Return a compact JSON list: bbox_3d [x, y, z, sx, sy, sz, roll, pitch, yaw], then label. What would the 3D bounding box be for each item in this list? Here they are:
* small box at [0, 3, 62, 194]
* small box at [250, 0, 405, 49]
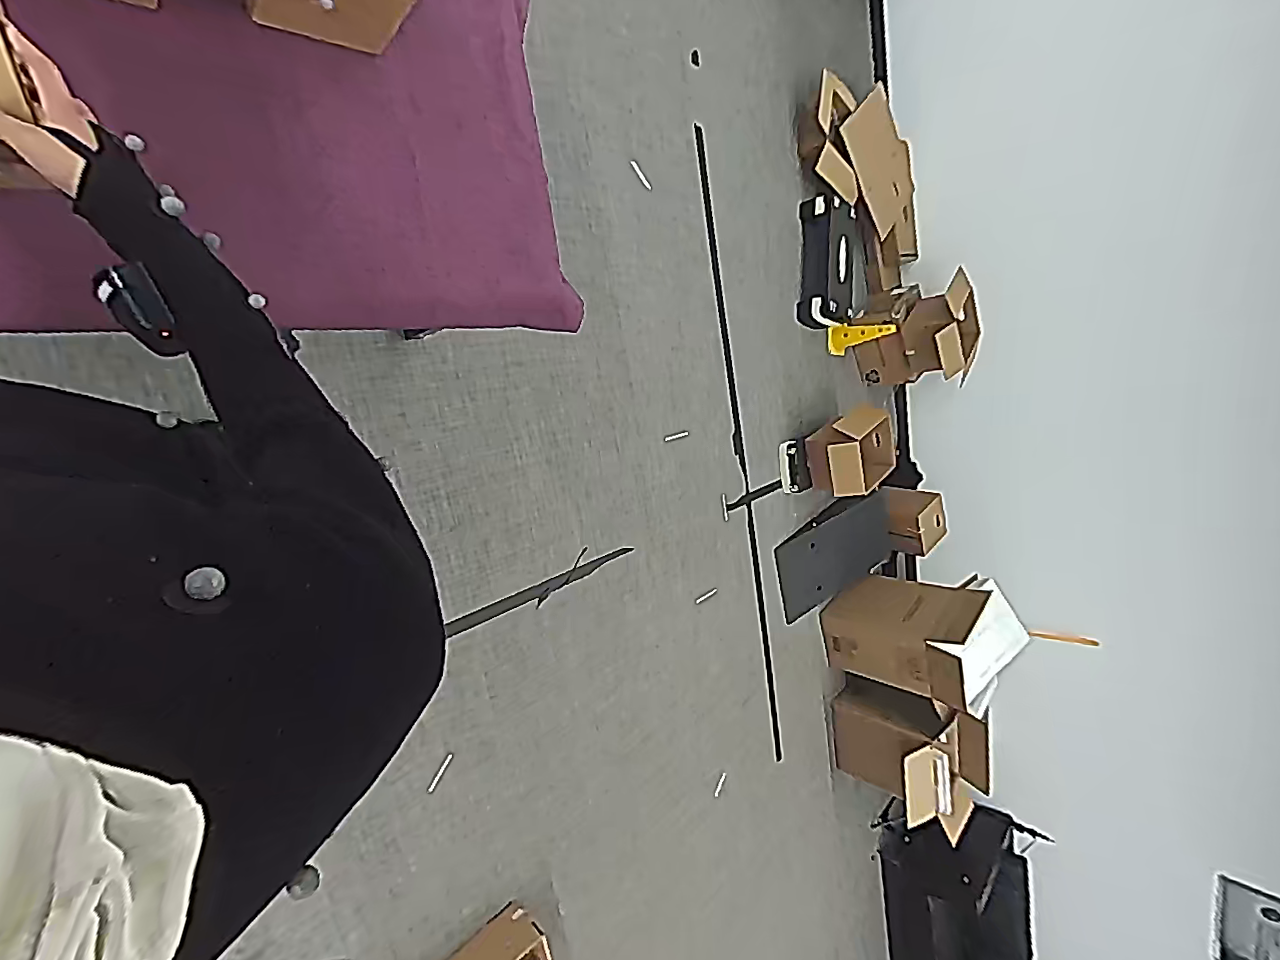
[{"bbox_3d":[-0.603,-0.332,0.422,0.179,0.176,0.168,-21,113,-36],"label":"small box"},{"bbox_3d":[-0.428,-0.724,0.723,0.179,0.176,0.168,-19,107,-40],"label":"small box"}]
